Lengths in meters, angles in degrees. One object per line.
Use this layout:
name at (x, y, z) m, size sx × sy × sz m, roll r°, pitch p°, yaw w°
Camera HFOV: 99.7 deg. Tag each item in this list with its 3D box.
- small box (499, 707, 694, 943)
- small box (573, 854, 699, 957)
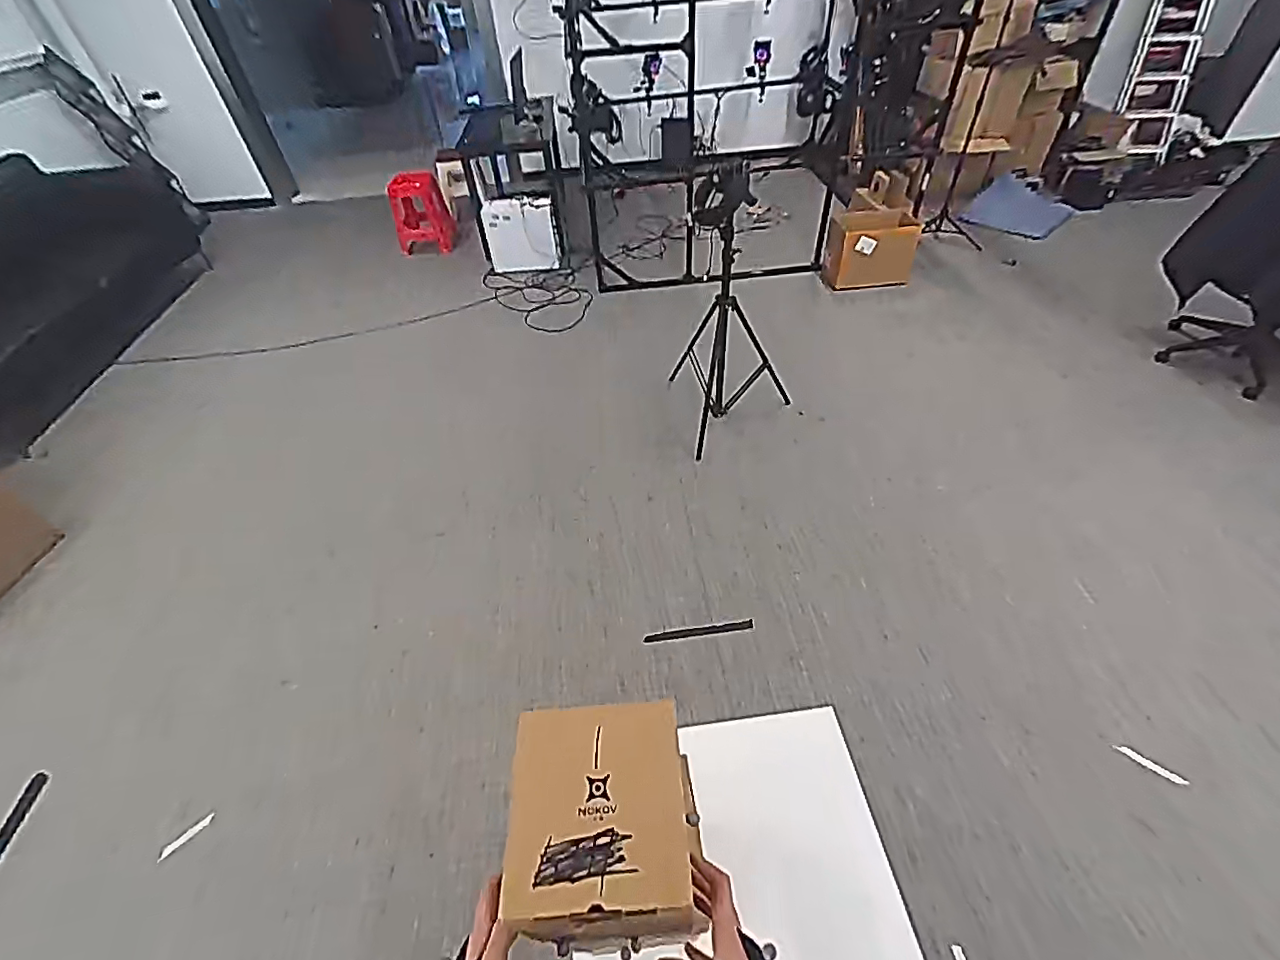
small box at (-0.033, 0.359, 0.559) m, size 0.168 × 0.176 × 0.179 m, roll -5°, pitch 45°, yaw 1°
small box at (-0.005, 0.582, 0.799) m, size 0.168 × 0.176 × 0.179 m, roll -6°, pitch 45°, yaw -2°
